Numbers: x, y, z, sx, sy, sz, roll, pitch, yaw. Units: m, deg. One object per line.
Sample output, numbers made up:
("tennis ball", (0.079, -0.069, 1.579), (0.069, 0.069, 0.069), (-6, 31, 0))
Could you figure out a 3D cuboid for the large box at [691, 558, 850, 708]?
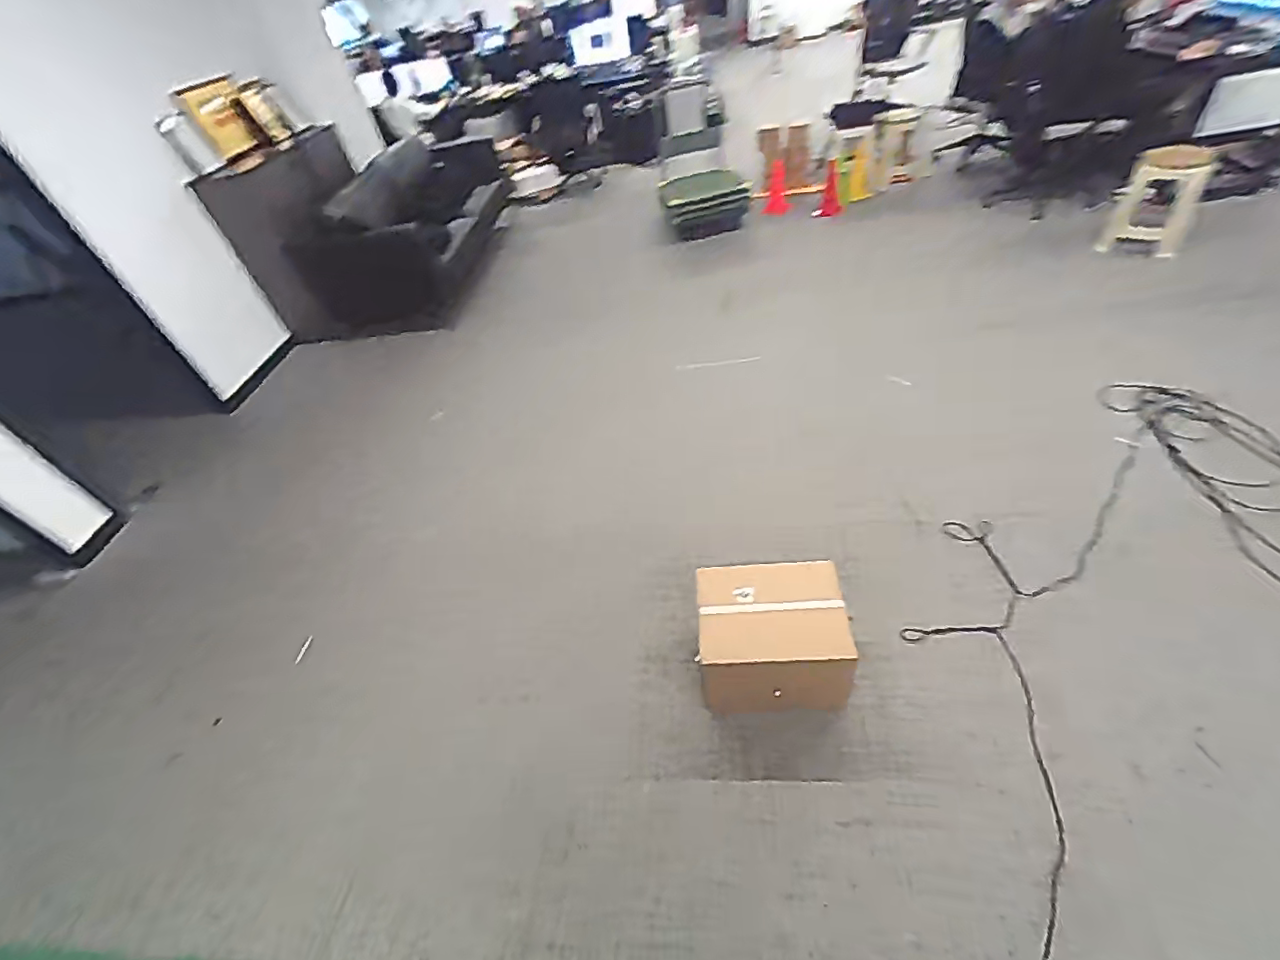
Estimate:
("large box", (0.380, 0.467, 1.630), (0.408, 0.320, 0.320), (-7, 43, 8))
